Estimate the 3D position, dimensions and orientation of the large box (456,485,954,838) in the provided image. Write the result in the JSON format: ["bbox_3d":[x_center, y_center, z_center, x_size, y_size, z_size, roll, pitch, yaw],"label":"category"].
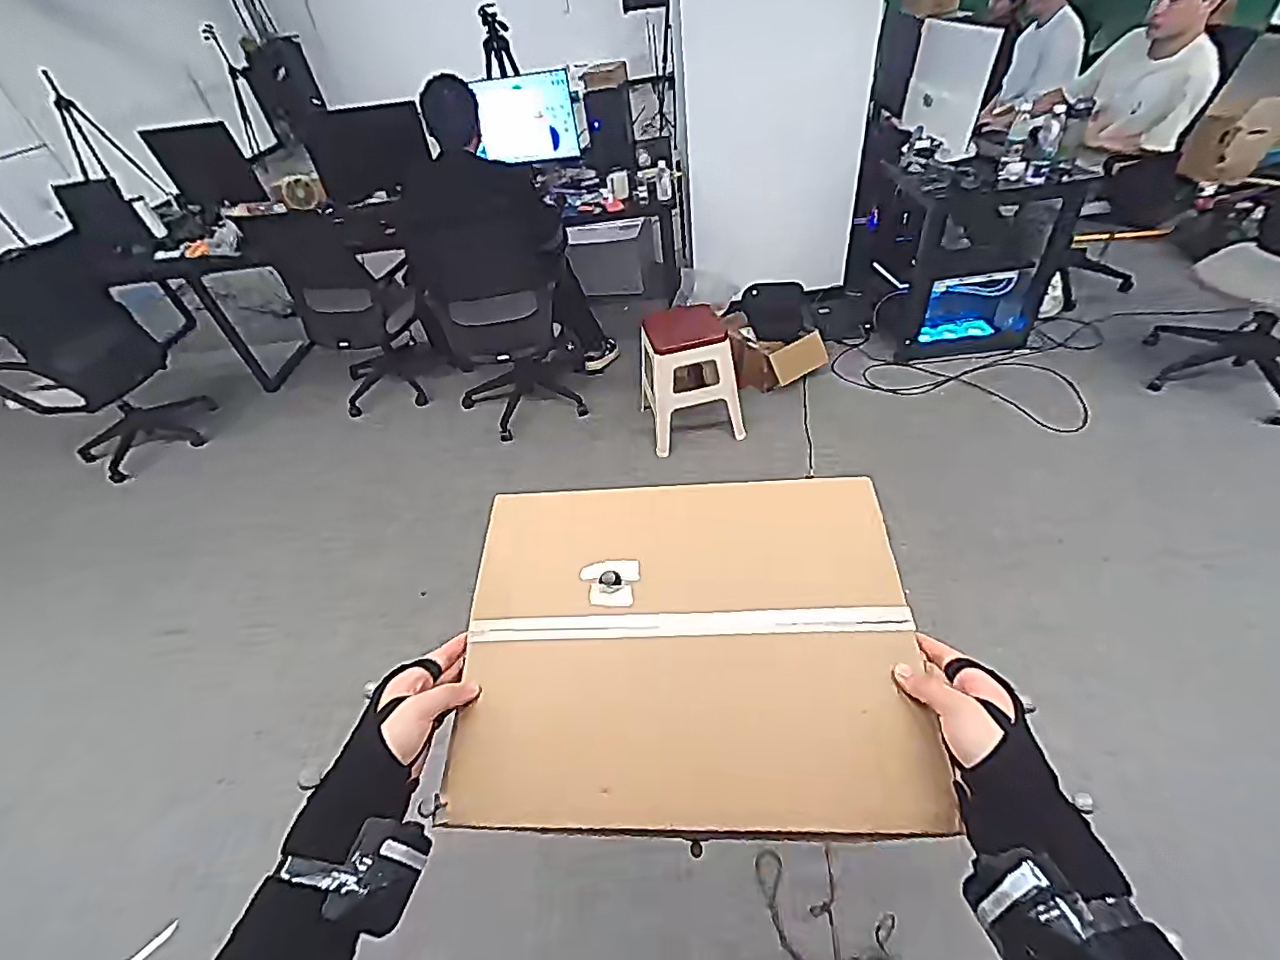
[{"bbox_3d":[0.062,0.230,0.632,0.408,0.320,0.320,-4,54,6],"label":"large box"}]
